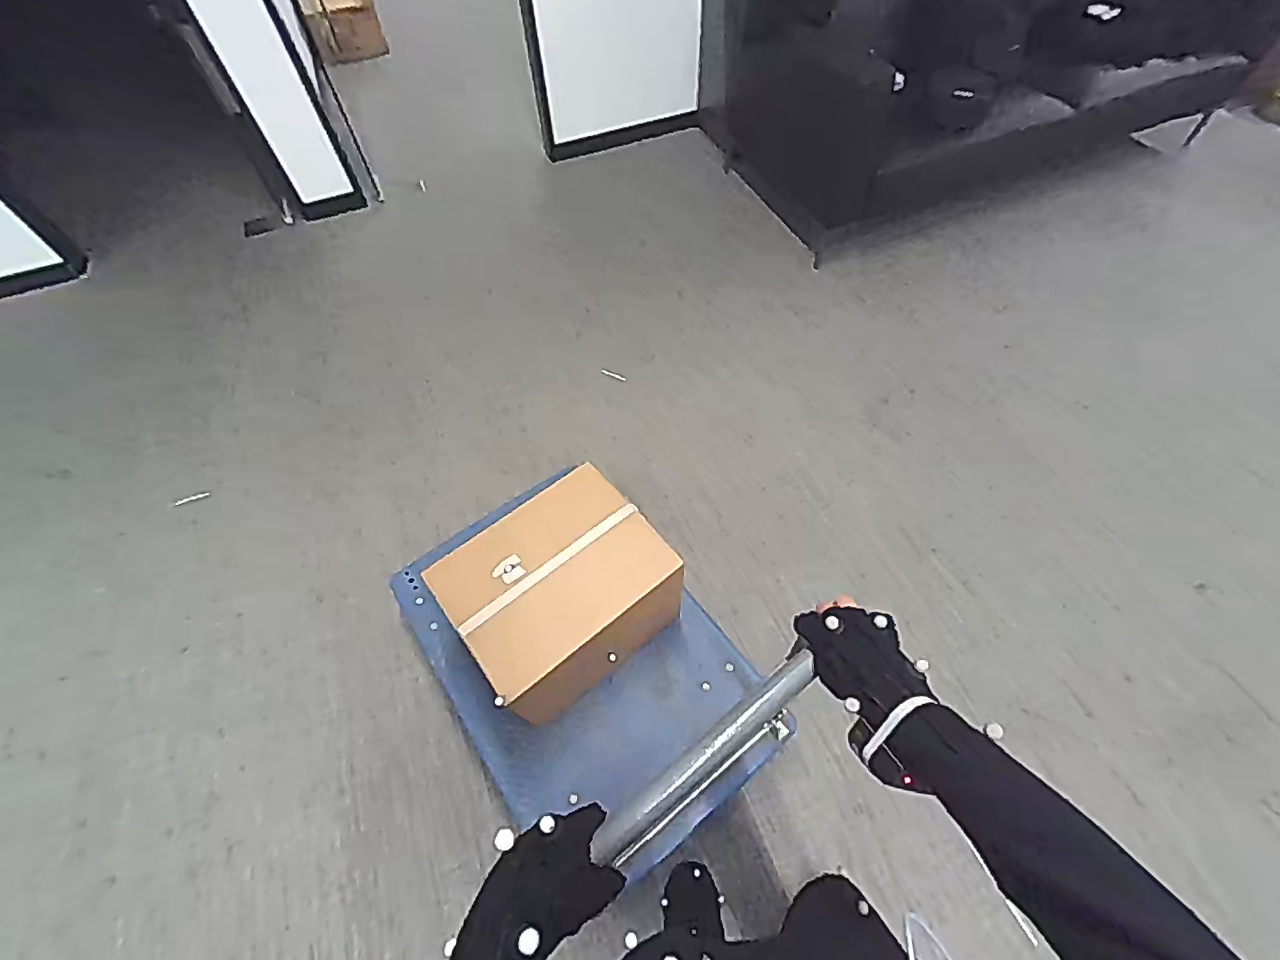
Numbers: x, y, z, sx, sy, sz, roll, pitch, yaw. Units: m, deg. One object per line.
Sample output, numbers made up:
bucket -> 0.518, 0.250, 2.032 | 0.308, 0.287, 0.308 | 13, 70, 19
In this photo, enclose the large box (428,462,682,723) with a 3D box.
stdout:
large box -> -0.158, 0.245, 1.164 | 0.408, 0.320, 0.320 | -36, 64, -18
